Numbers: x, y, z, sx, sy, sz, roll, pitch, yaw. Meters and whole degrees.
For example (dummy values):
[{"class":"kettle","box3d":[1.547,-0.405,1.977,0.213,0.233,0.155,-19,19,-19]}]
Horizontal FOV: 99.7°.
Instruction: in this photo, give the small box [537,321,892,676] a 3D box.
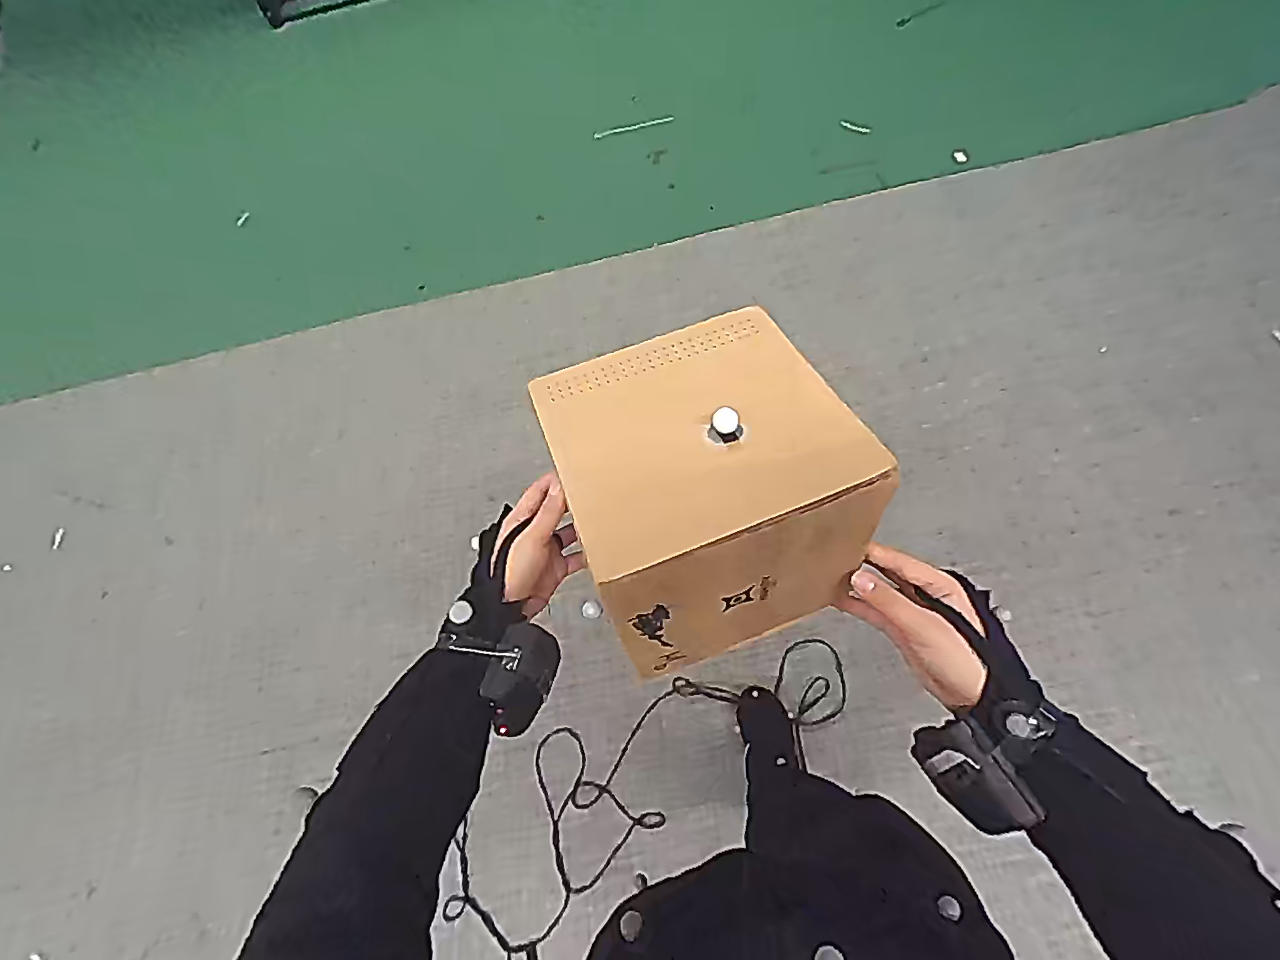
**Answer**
[{"class":"small box","box3d":[0.043,0.010,0.401,0.179,0.168,0.176,-21,52,-7]}]
